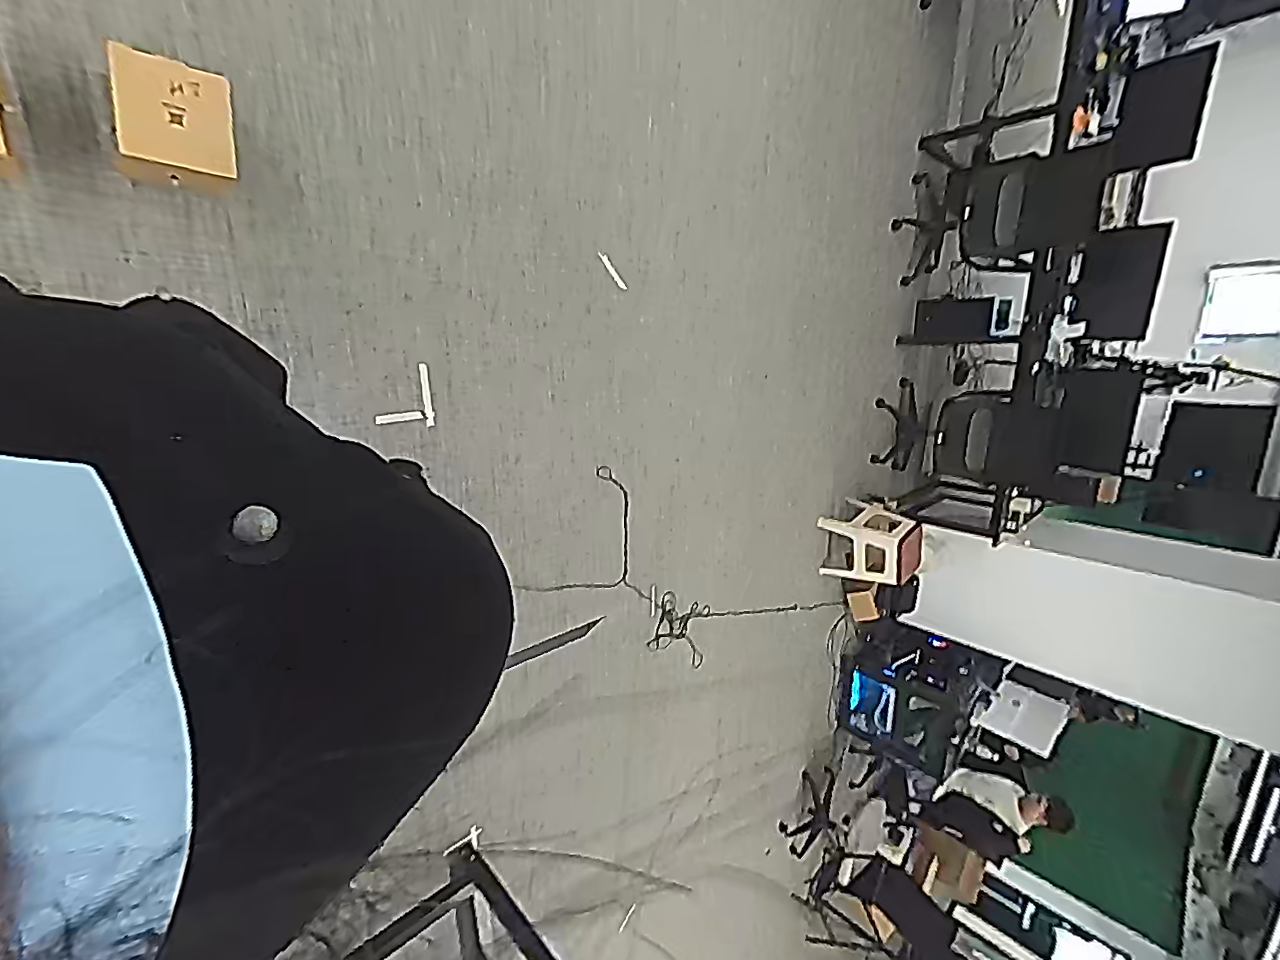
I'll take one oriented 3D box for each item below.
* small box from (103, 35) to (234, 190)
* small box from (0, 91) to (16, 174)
[{"bbox_3d":[-0.878,-0.666,1.010,0.168,0.176,0.179,-8,105,-44],"label":"small box"},{"bbox_3d":[-1.096,-0.593,0.820,0.168,0.176,0.179,-11,108,-42],"label":"small box"}]
